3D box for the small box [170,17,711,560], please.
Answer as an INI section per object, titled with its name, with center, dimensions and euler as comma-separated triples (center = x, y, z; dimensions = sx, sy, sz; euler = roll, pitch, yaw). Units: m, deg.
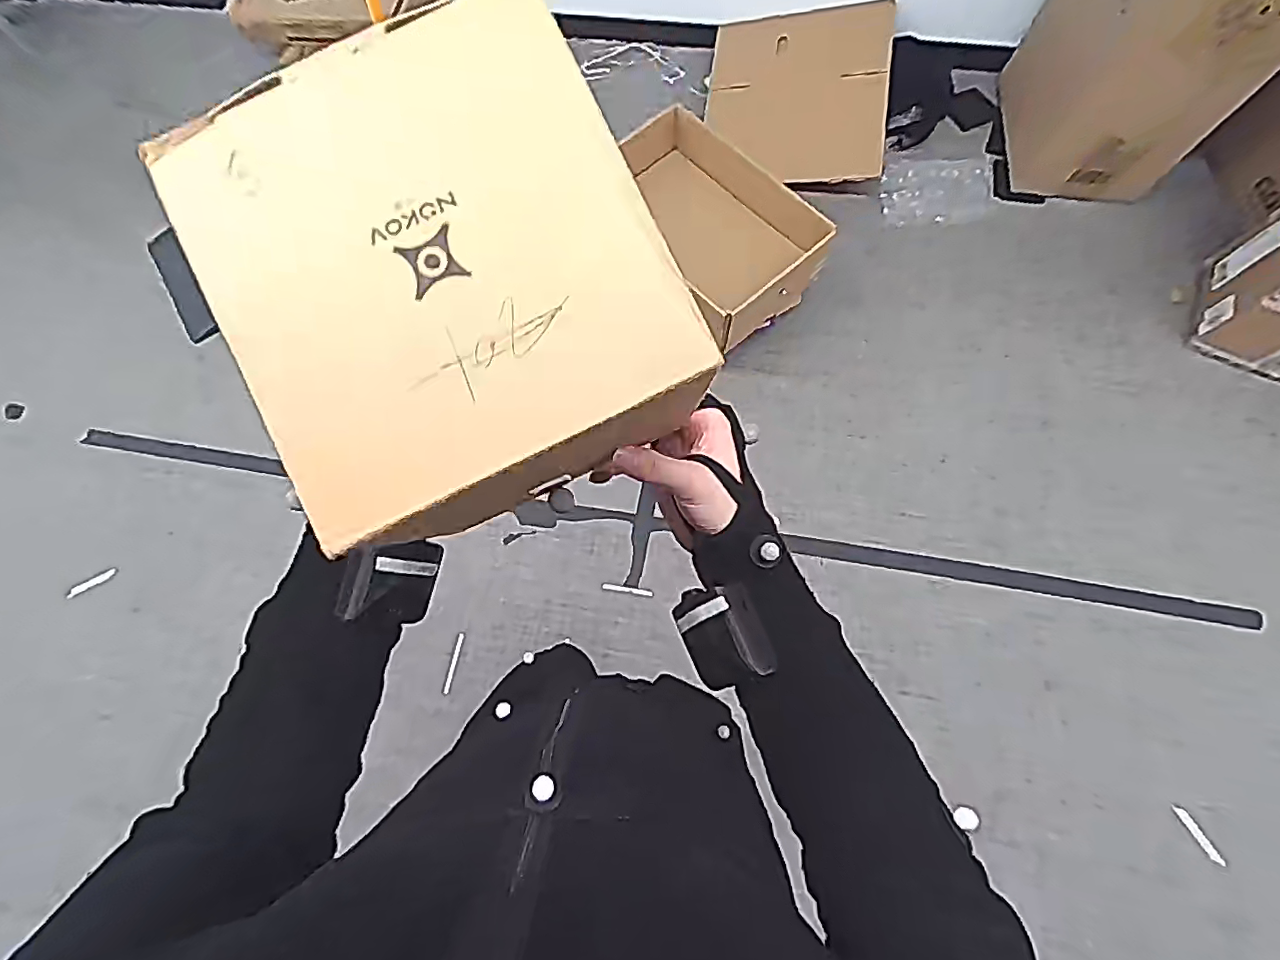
[small box]
center = -0.080, -0.075, 0.296
dimensions = 0.168, 0.176, 0.179
euler = -26, 89, 0
